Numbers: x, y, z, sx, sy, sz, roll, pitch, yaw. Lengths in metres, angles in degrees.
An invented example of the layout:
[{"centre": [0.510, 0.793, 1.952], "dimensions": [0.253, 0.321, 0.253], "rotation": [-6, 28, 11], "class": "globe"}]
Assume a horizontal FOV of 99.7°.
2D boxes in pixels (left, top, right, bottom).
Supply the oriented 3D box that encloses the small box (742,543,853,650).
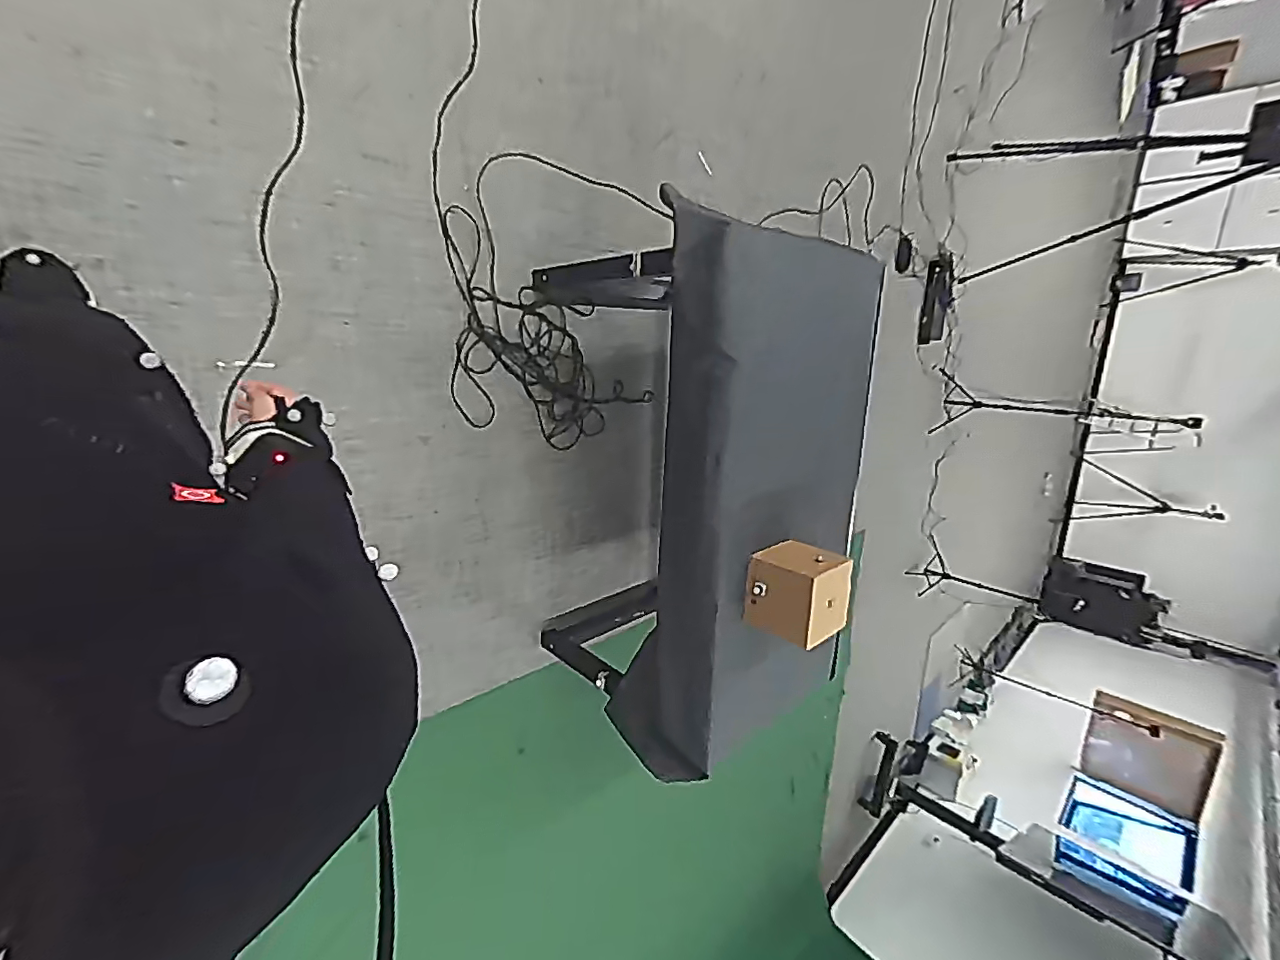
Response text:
[{"centre": [0.354, 0.251, 1.222], "dimensions": [0.179, 0.176, 0.168], "rotation": [-10, 107, -41], "class": "small box"}]
